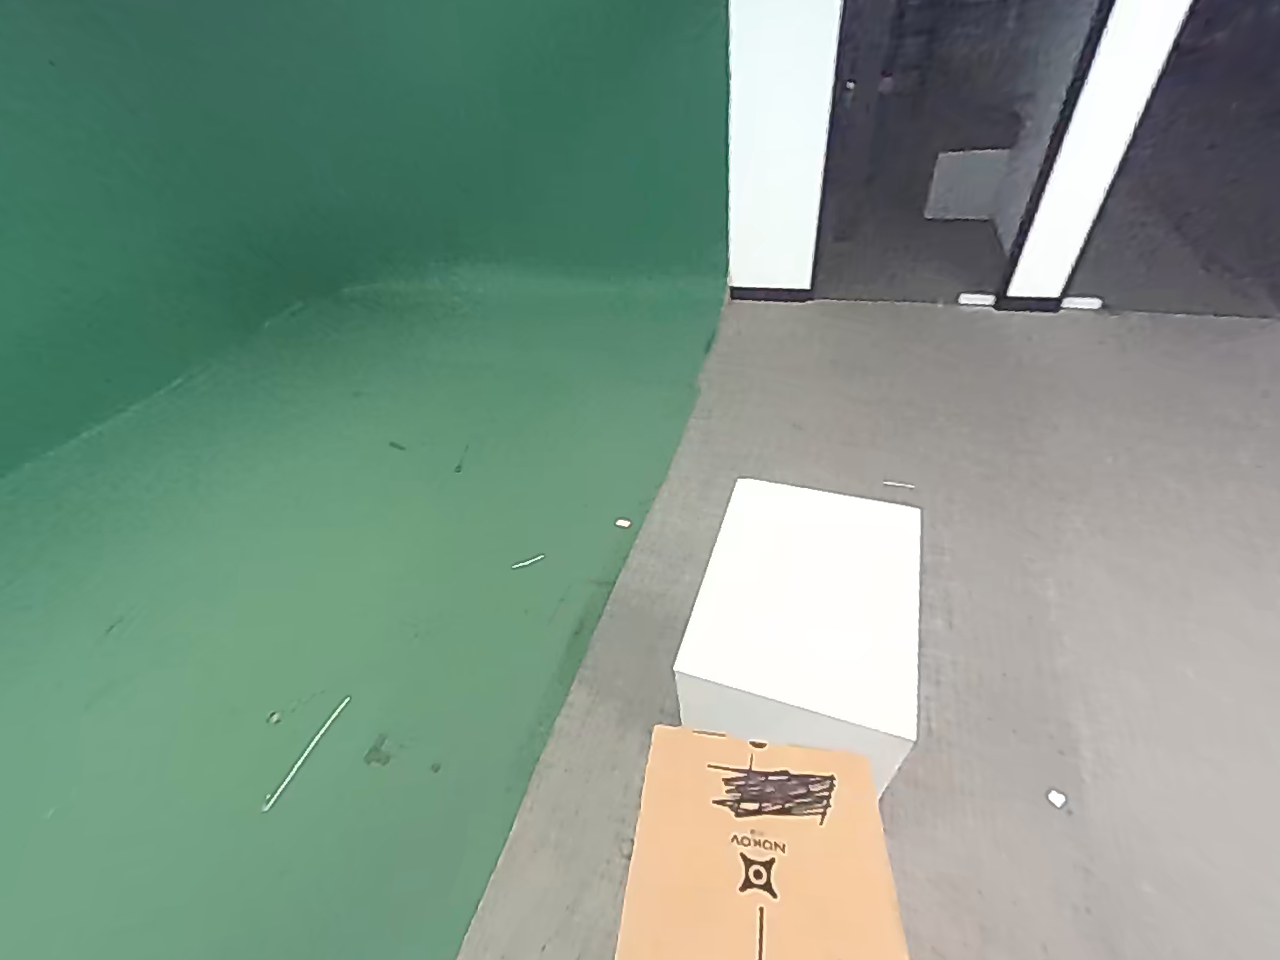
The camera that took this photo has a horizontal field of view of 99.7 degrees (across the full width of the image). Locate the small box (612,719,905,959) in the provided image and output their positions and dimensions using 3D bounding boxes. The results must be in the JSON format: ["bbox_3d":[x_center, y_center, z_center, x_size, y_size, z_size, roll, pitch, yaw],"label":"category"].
[{"bbox_3d":[0.079,0.313,0.393,0.168,0.176,0.179,5,31,10],"label":"small box"}]
